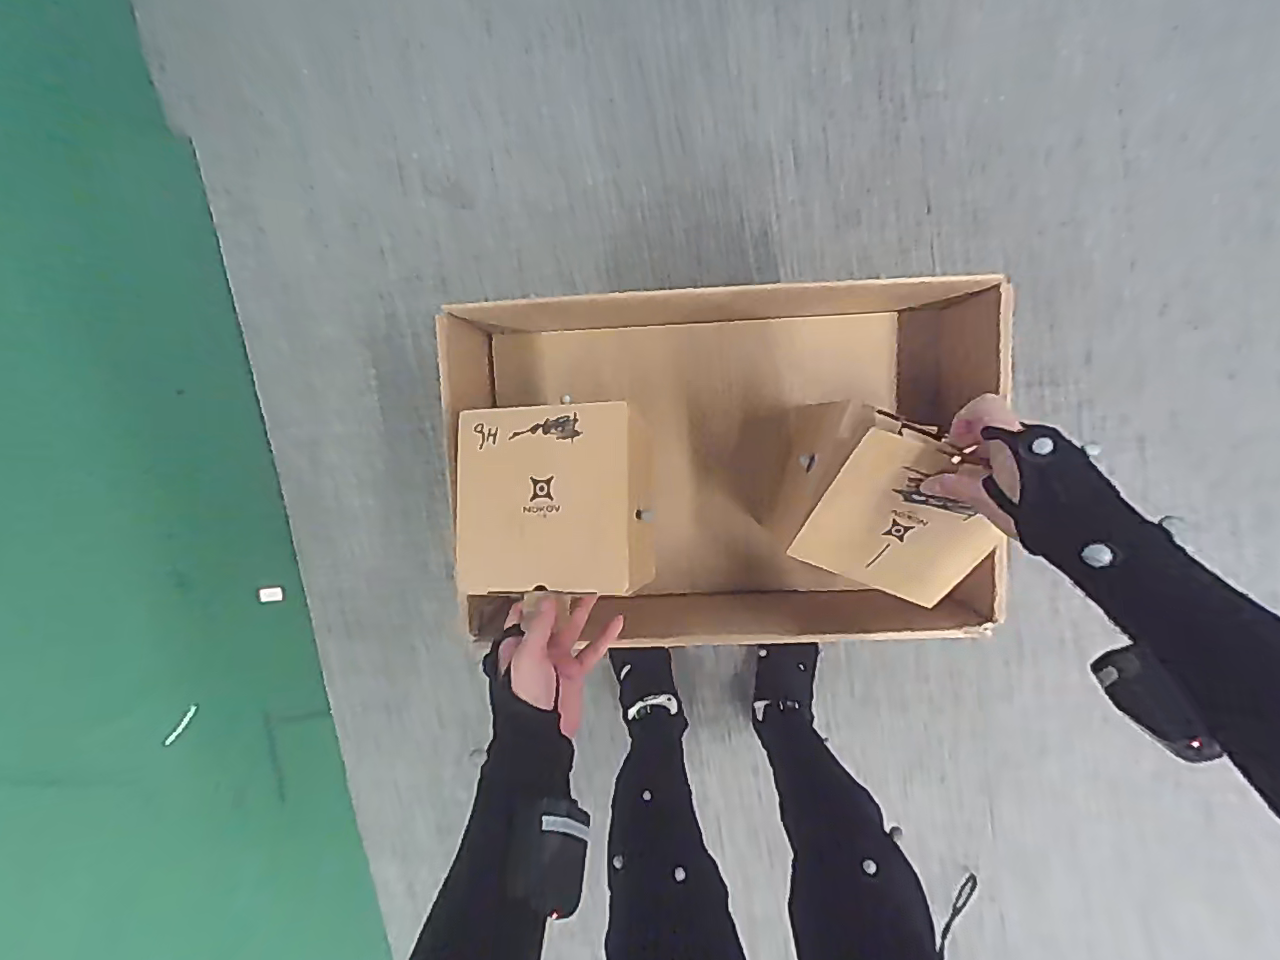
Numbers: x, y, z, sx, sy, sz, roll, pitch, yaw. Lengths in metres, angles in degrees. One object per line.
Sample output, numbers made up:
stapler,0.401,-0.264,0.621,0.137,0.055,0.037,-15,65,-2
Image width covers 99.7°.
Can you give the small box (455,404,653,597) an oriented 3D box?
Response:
small box,-0.080,0.024,0.576,0.168,0.176,0.179,-3,86,10
